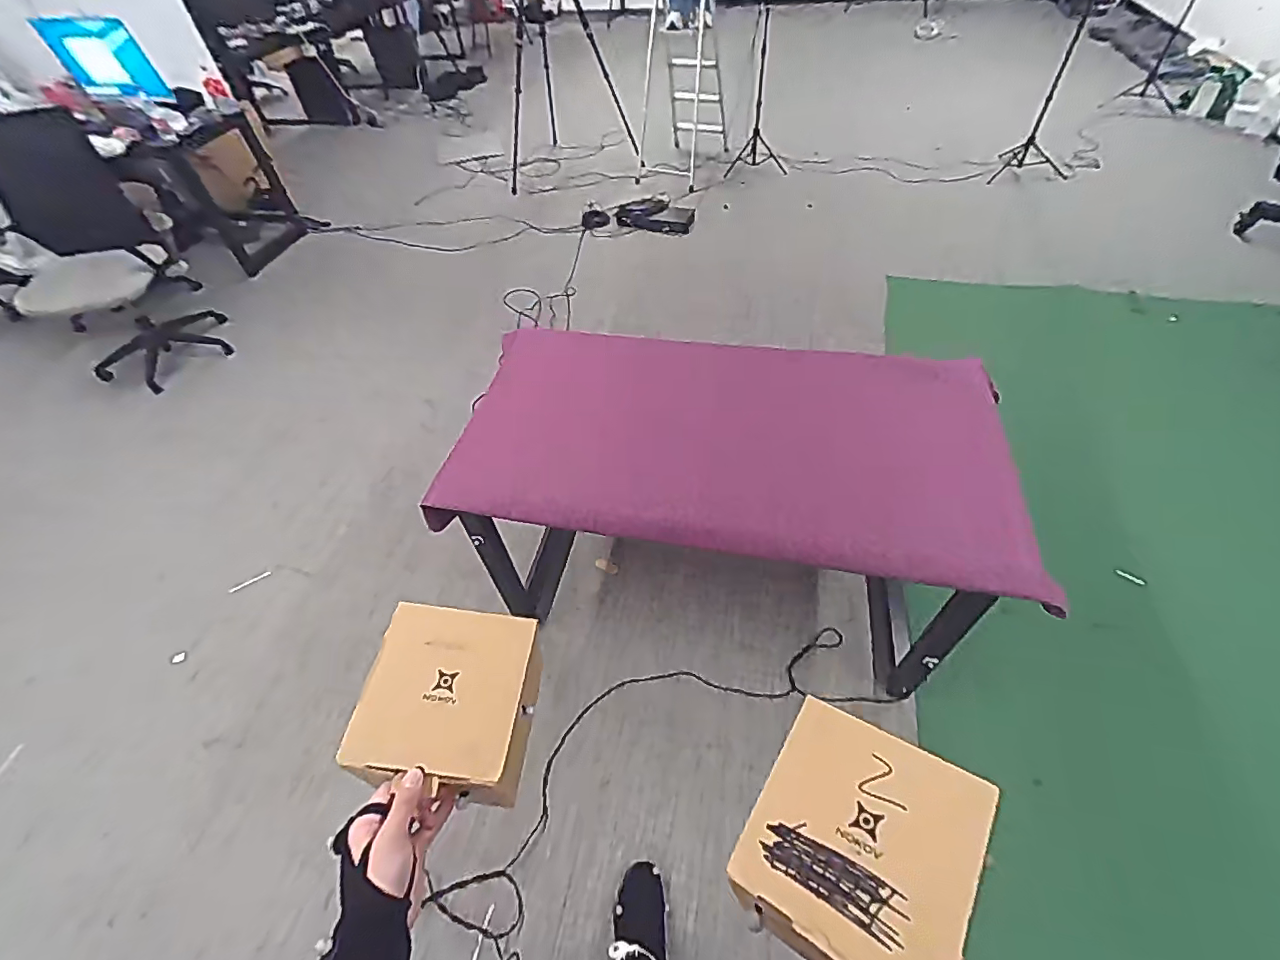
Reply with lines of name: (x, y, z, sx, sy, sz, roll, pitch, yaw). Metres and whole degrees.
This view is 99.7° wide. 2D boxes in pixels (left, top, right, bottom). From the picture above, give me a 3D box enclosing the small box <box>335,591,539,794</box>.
small box: (-0.220, 0.259, 0.647, 0.168, 0.176, 0.179, 9, 51, 0)
